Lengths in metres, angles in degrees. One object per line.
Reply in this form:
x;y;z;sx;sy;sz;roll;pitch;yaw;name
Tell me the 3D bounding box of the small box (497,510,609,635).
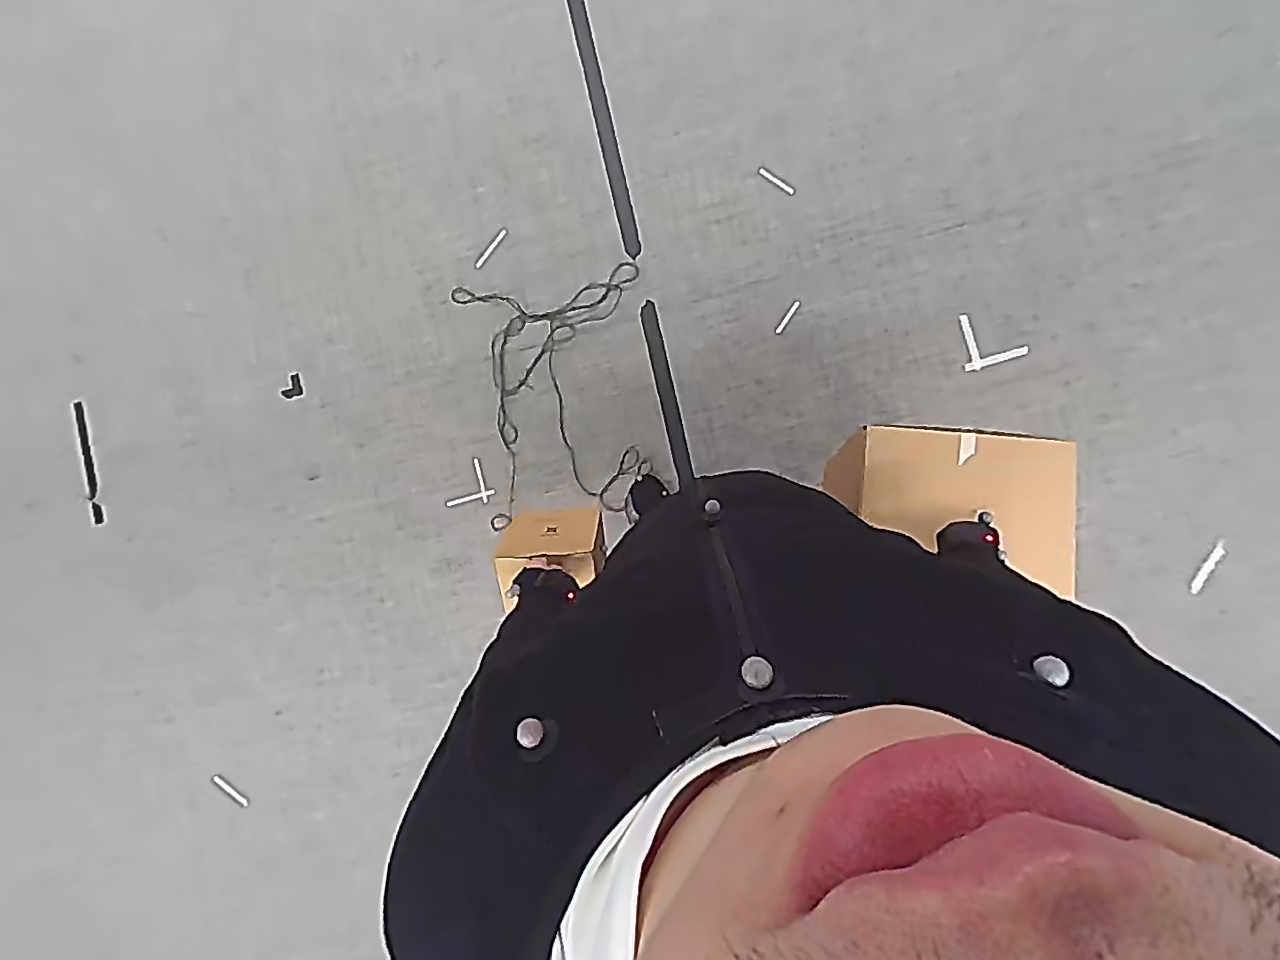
-0.149;0.172;0.998;0.168;0.179;0.176;-3;112;3;small box
